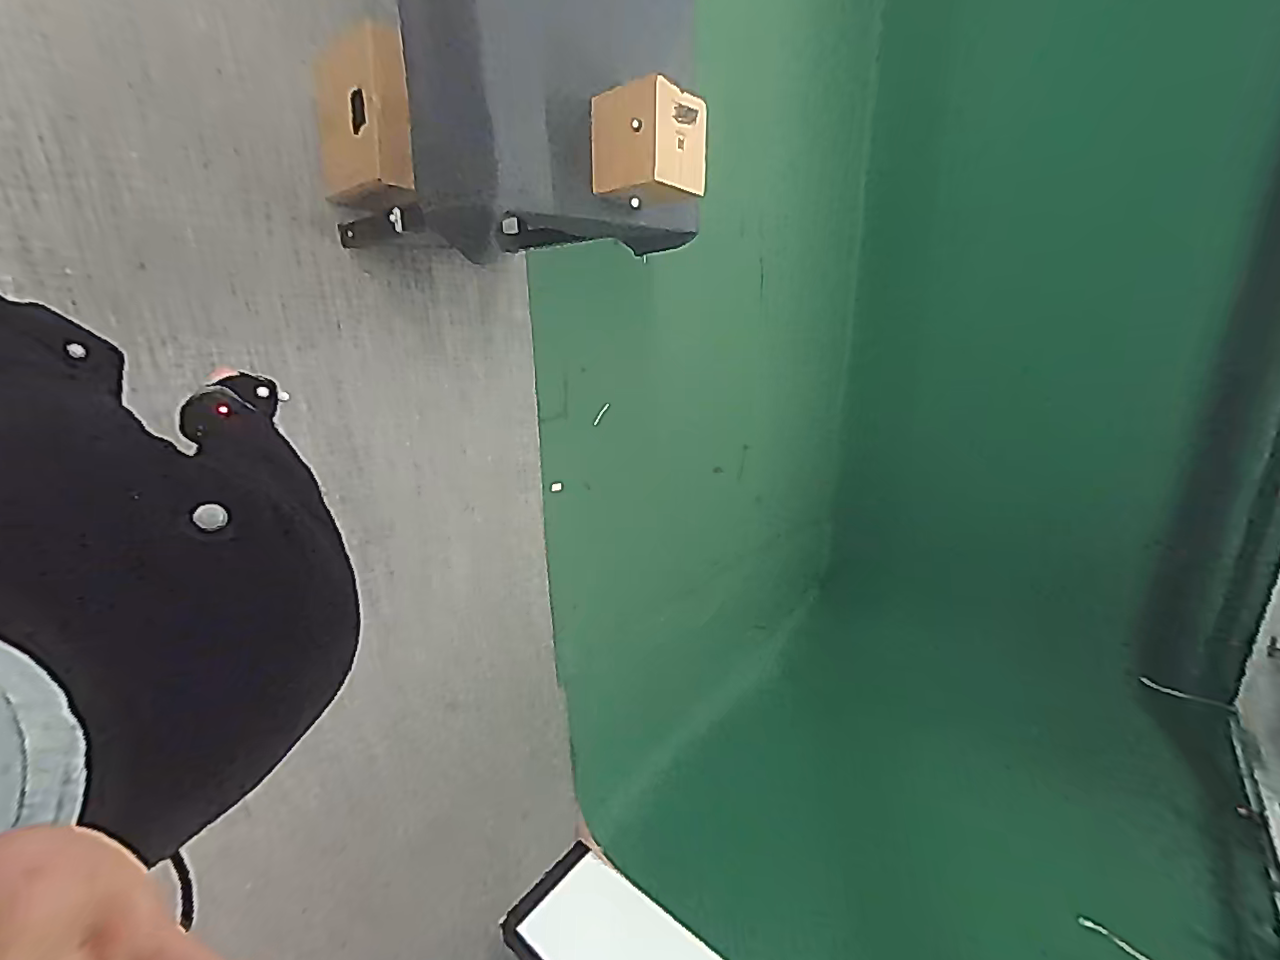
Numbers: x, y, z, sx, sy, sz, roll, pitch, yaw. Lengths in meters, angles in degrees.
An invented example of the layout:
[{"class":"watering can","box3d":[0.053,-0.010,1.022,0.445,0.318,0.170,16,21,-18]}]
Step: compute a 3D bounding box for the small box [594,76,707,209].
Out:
[{"class":"small box","box3d":[0.020,-0.667,1.094,0.168,0.176,0.179,-17,112,-48]}]
